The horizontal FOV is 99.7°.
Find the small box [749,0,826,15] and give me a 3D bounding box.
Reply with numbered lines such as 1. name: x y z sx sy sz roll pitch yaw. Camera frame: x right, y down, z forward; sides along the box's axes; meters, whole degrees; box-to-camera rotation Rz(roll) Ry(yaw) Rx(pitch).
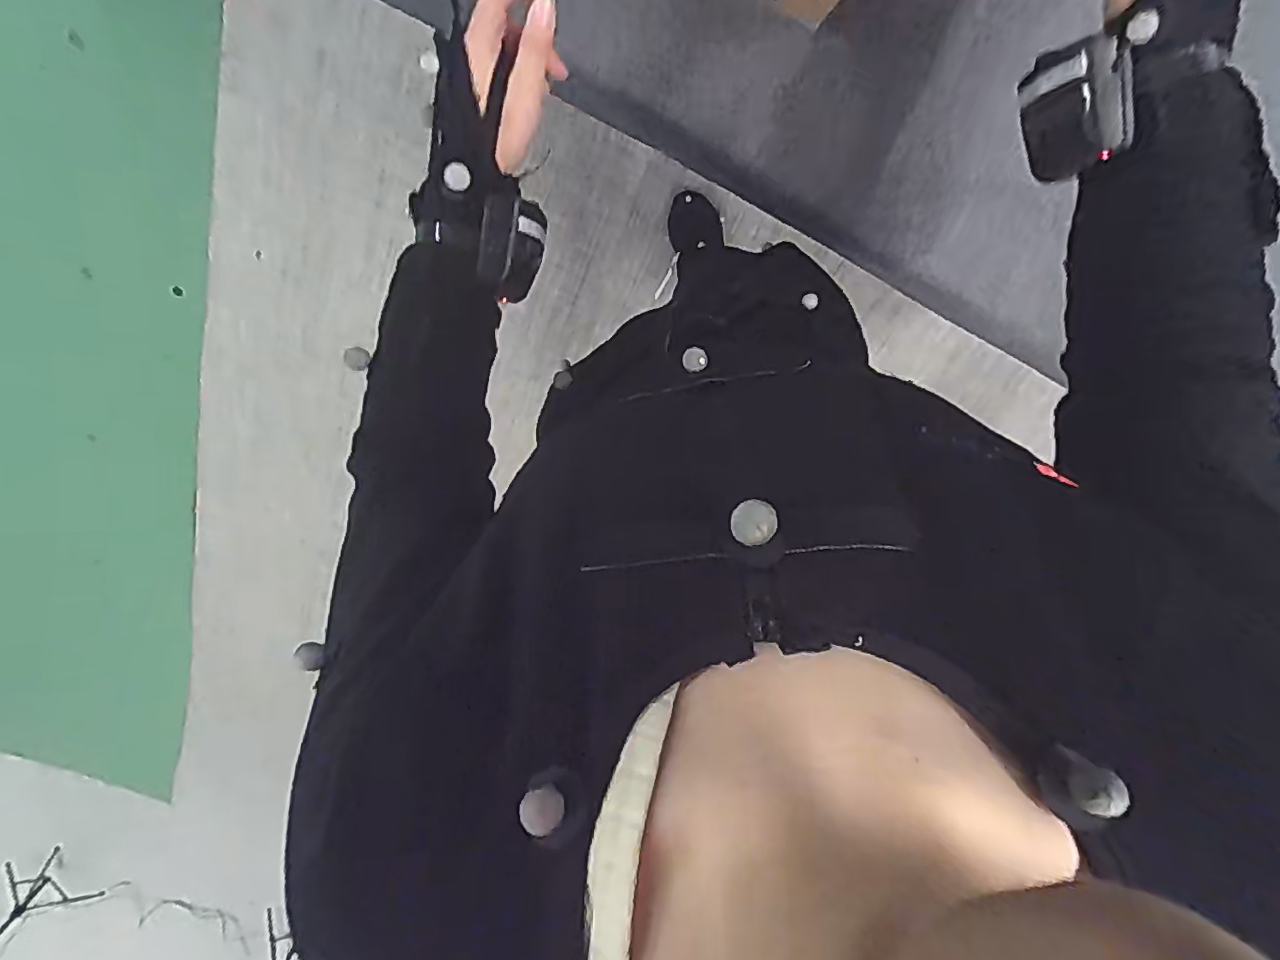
1. small box: 0.083 -0.418 0.316 0.179 0.176 0.168 21 117 -6
